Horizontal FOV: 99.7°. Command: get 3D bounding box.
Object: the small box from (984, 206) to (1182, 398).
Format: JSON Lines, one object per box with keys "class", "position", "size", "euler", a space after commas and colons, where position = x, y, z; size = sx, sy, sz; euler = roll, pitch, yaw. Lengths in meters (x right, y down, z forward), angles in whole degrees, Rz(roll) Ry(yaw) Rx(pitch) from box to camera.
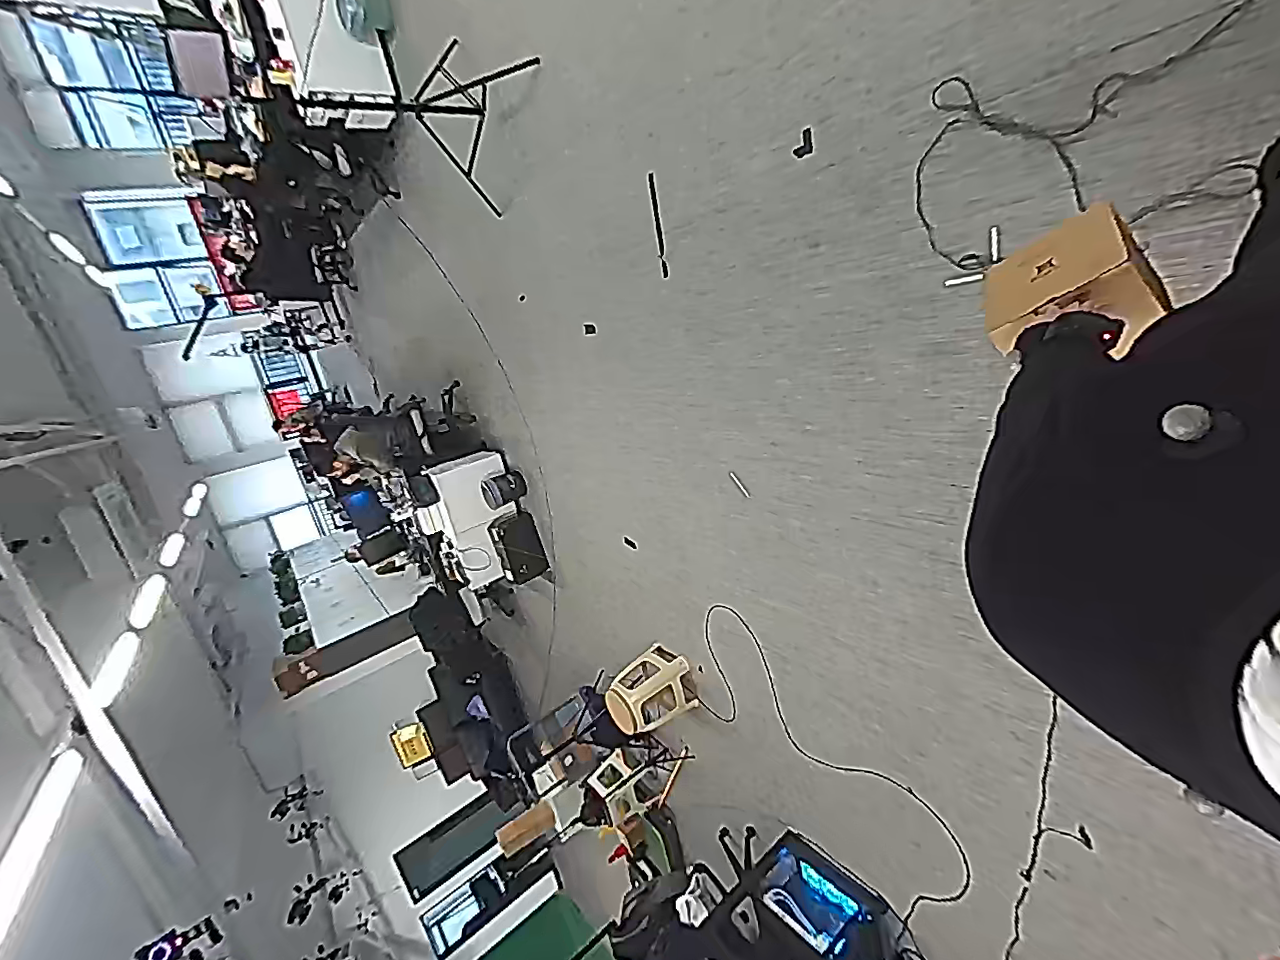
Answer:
{"class": "small box", "position": [0.626, -0.242, 0.778], "size": [0.176, 0.179, 0.168], "euler": [40, 141, -17]}
